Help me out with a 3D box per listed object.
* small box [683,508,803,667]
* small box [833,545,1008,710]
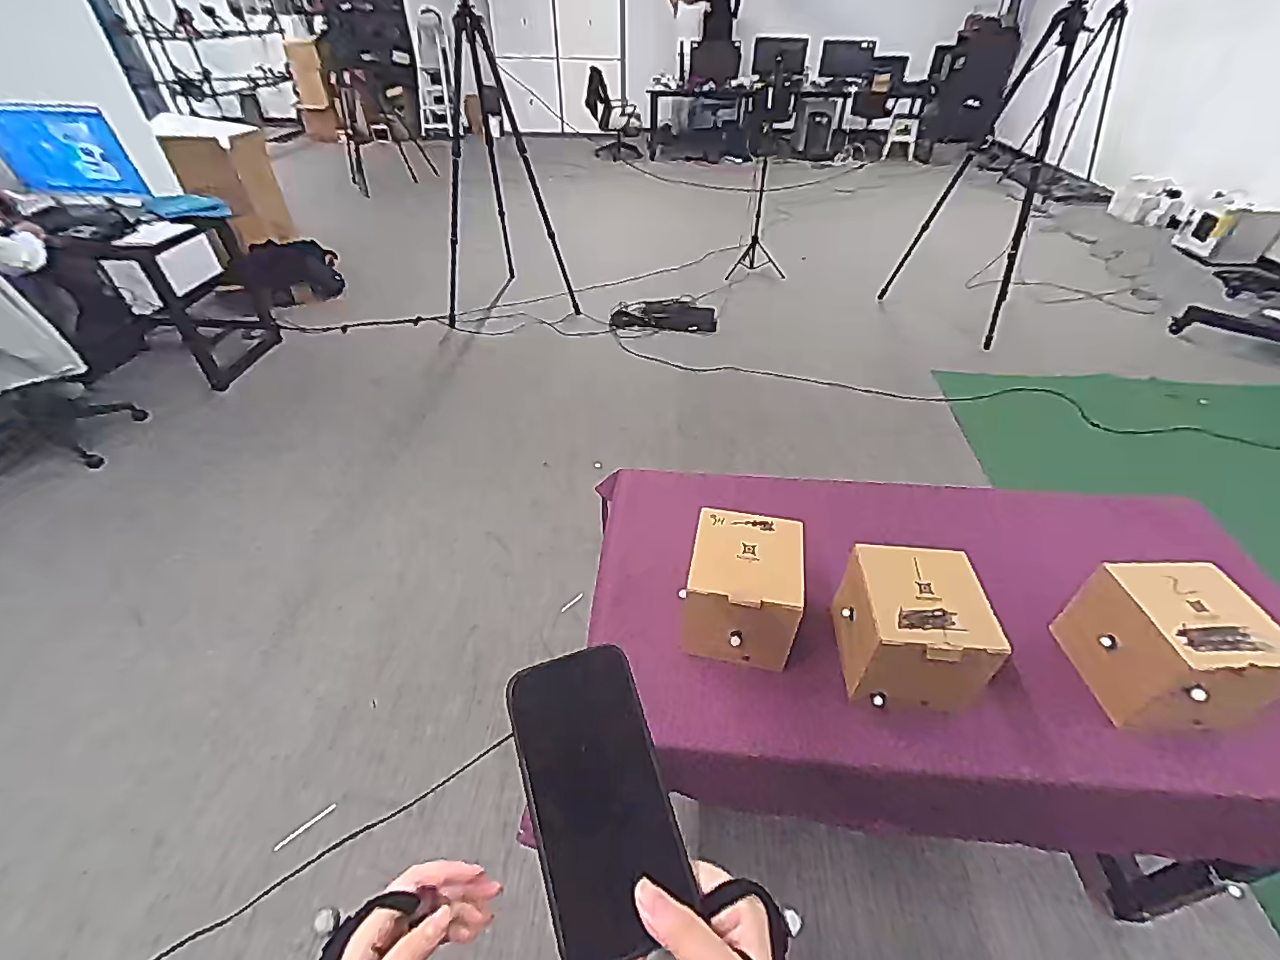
[{"bbox_3d":[0.163,0.173,0.868,0.168,0.176,0.179,8,42,10],"label":"small box"},{"bbox_3d":[0.401,0.221,0.811,0.168,0.176,0.179,4,40,4],"label":"small box"}]
